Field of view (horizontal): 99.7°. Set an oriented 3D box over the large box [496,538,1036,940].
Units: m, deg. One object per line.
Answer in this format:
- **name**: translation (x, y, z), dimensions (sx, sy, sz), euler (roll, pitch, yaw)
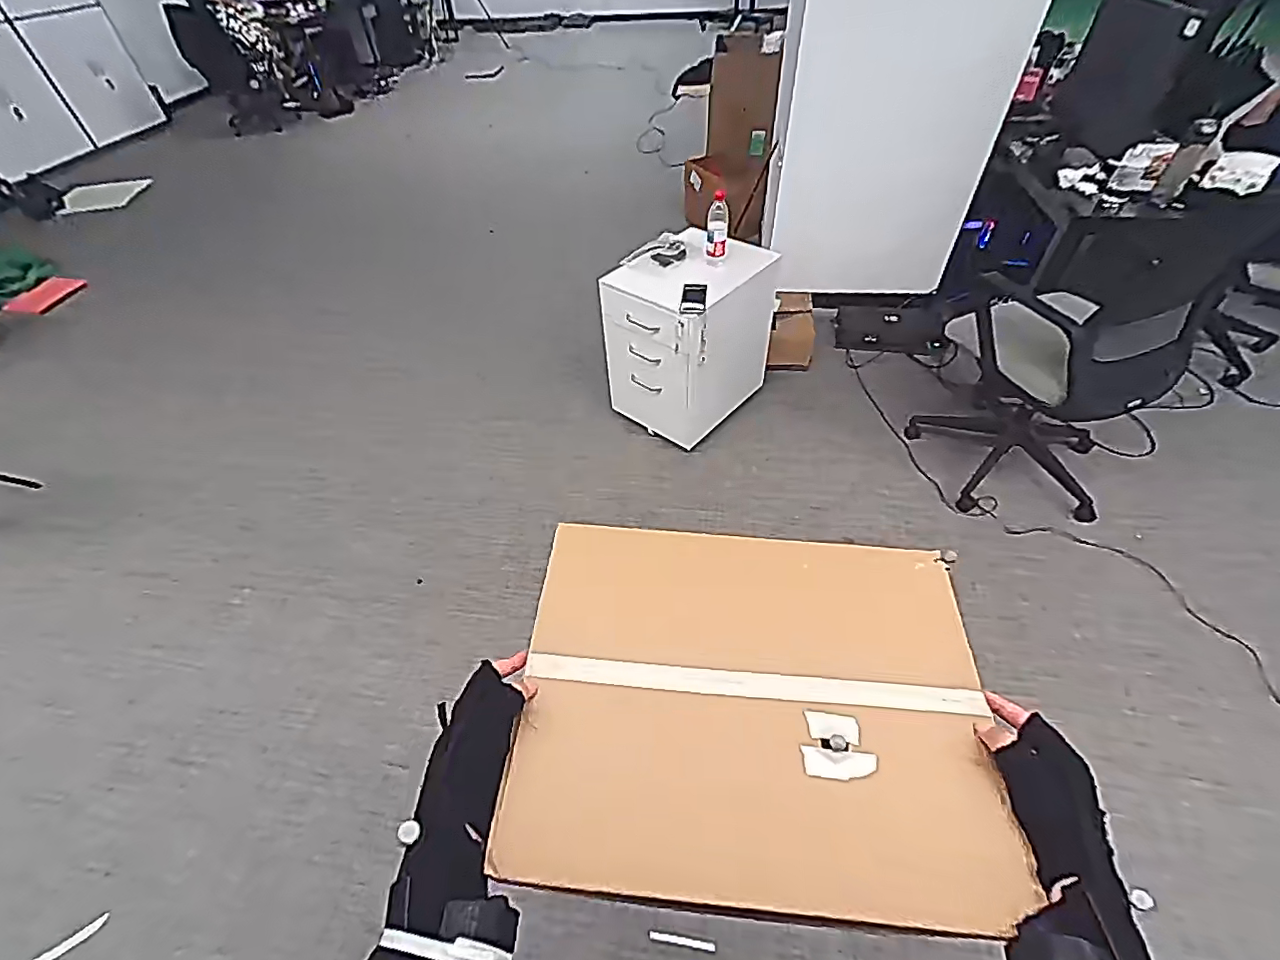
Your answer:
- **large box**: translation (0.097, 0.288, 0.601), dimensions (0.408, 0.320, 0.320), euler (5, 52, 3)
